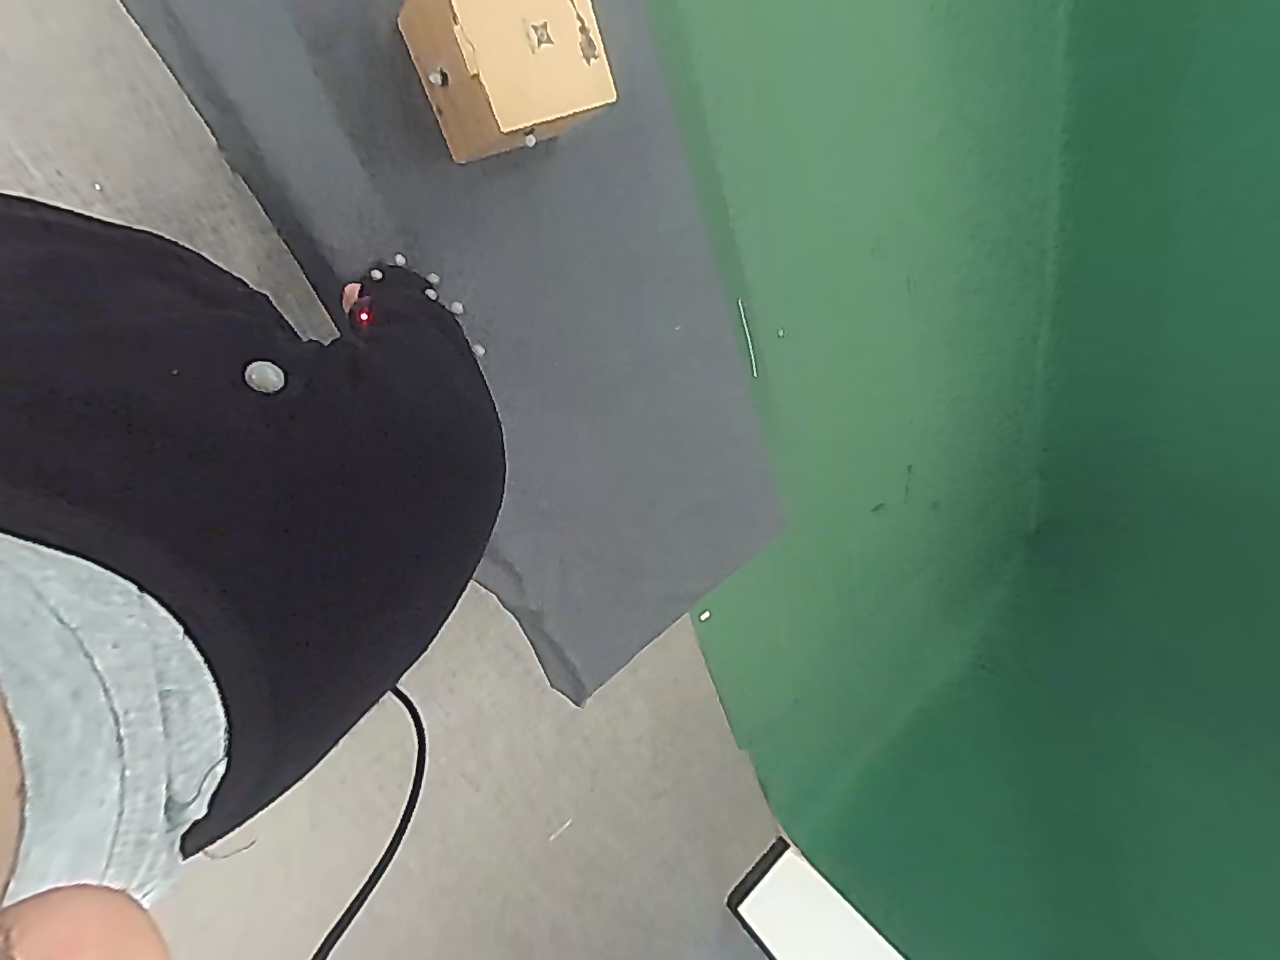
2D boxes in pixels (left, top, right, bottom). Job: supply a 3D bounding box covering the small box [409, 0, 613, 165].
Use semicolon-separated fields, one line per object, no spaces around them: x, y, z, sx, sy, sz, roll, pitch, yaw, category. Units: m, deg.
-0.168;-0.520;0.680;0.179;0.176;0.168;-33;121;-23;small box
